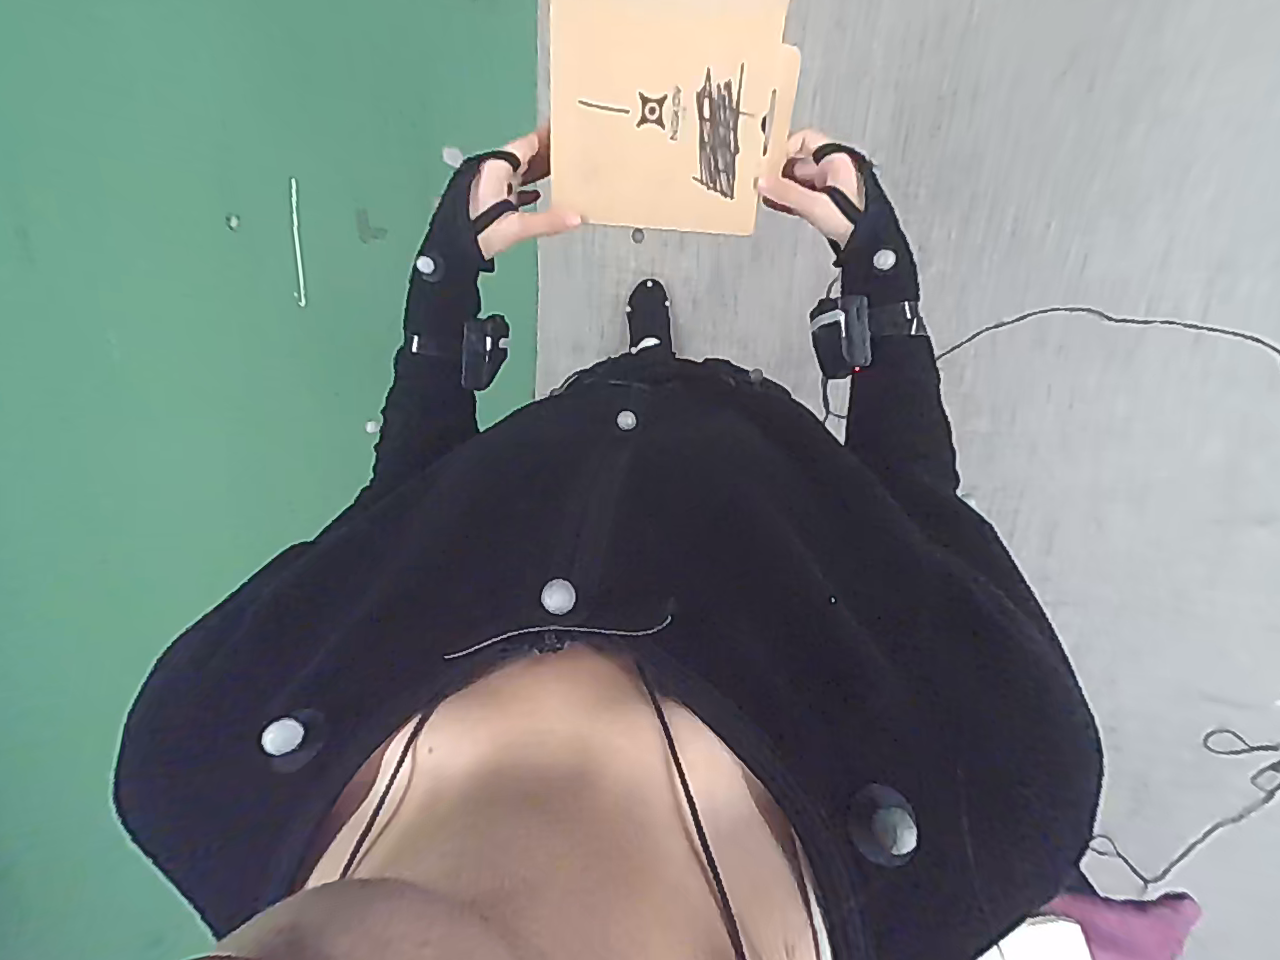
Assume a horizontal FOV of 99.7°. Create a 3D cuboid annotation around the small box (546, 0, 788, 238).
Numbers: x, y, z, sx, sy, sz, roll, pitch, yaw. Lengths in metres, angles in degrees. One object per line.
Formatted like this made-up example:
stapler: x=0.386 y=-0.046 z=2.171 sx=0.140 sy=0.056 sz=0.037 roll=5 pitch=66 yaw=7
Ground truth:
small box: x=0.010 y=-0.320 z=0.489 sx=0.179 sy=0.176 sz=0.168 roll=3 pitch=116 yaw=-5
